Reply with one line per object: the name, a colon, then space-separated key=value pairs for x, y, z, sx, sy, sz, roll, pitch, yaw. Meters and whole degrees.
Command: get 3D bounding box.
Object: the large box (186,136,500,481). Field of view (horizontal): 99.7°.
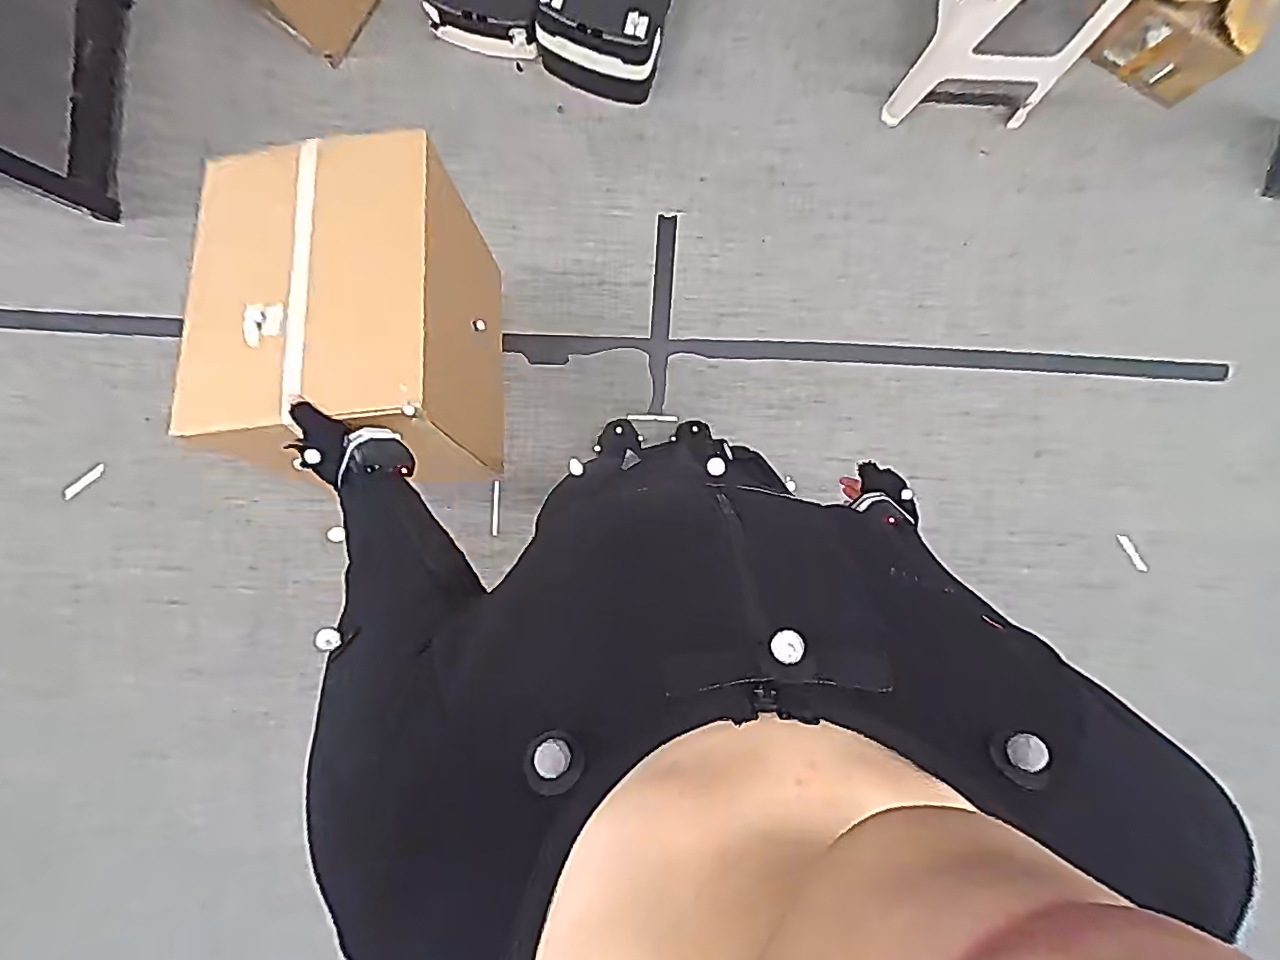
large box: x=-0.420 y=-0.234 z=0.848 sx=0.320 sy=0.320 sz=0.408 roll=-6 pitch=78 yaw=4
